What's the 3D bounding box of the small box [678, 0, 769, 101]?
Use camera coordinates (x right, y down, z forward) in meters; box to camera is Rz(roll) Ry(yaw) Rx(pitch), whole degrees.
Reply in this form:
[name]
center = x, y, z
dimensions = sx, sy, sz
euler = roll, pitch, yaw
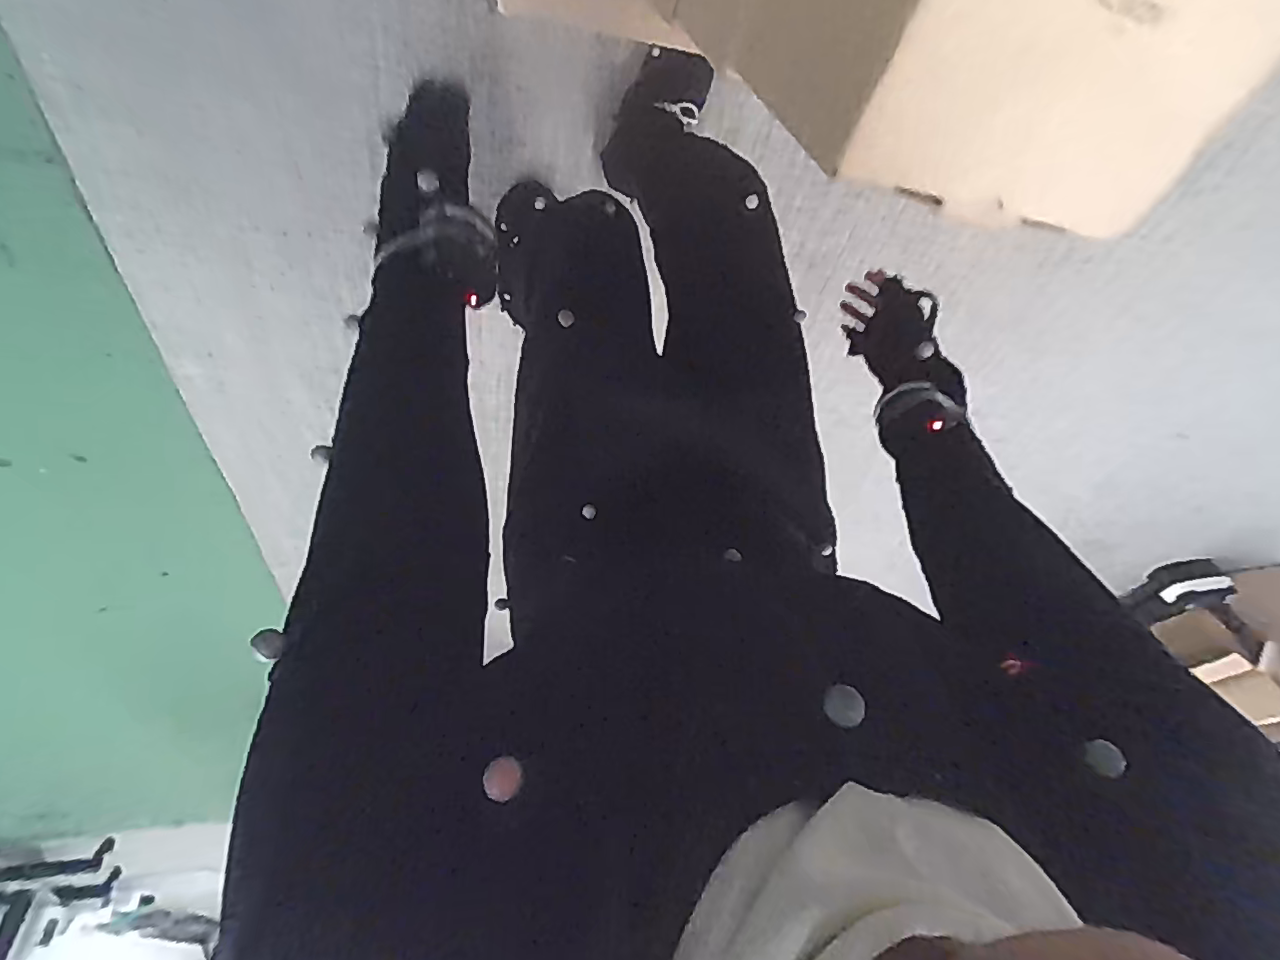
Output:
[small box]
center = 0.140, -0.363, 0.358
dimensions = 0.179, 0.176, 0.168
euler = 1, 140, -14
